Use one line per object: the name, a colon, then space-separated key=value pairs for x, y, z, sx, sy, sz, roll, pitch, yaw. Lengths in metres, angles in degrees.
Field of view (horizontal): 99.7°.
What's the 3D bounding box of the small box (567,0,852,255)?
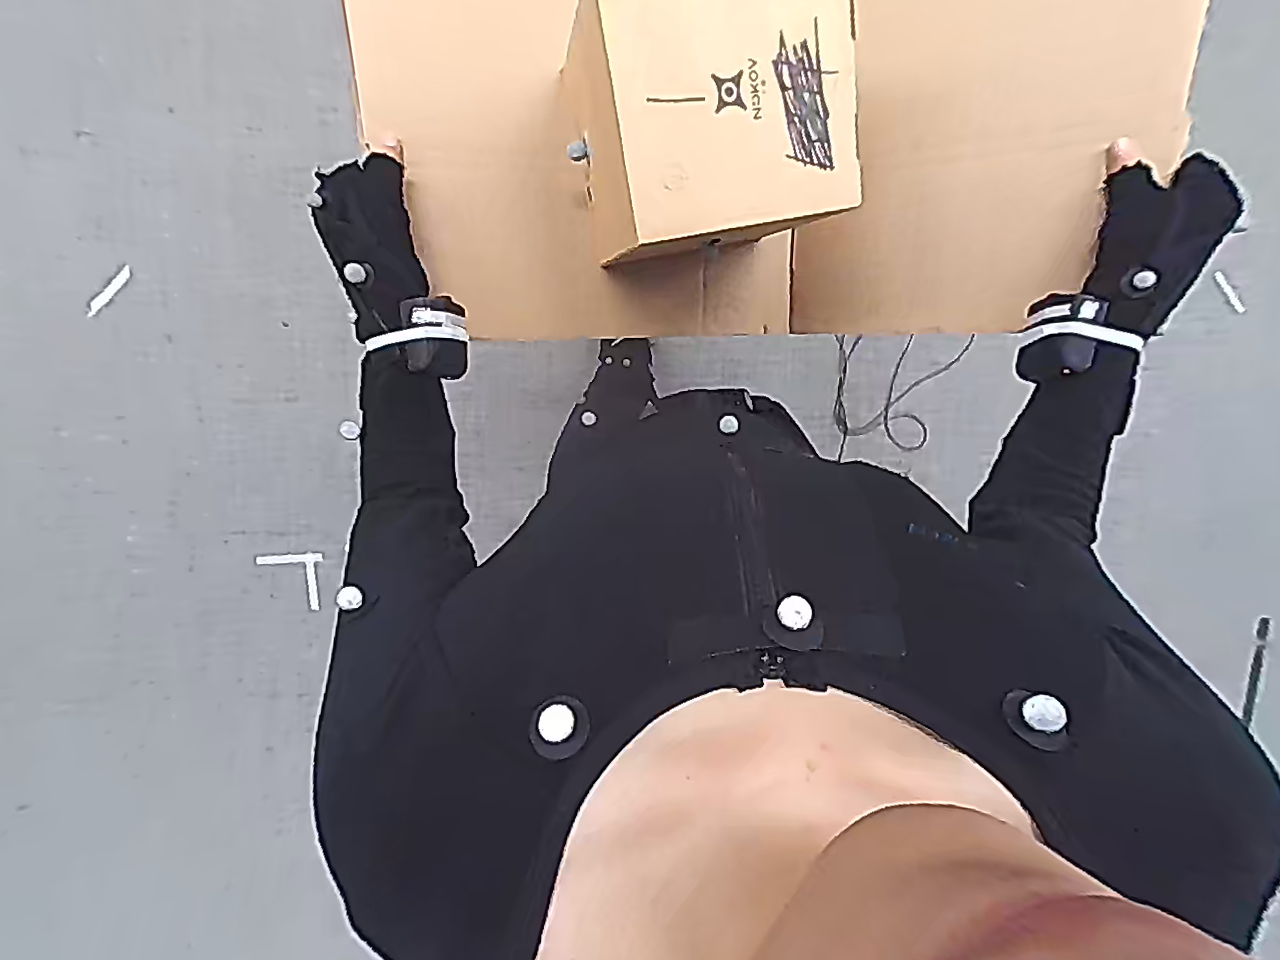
small box: x=0.047 y=-0.291 z=0.445 sx=0.179 sy=0.176 sz=0.168 roll=-14 pitch=109 yaw=-9
